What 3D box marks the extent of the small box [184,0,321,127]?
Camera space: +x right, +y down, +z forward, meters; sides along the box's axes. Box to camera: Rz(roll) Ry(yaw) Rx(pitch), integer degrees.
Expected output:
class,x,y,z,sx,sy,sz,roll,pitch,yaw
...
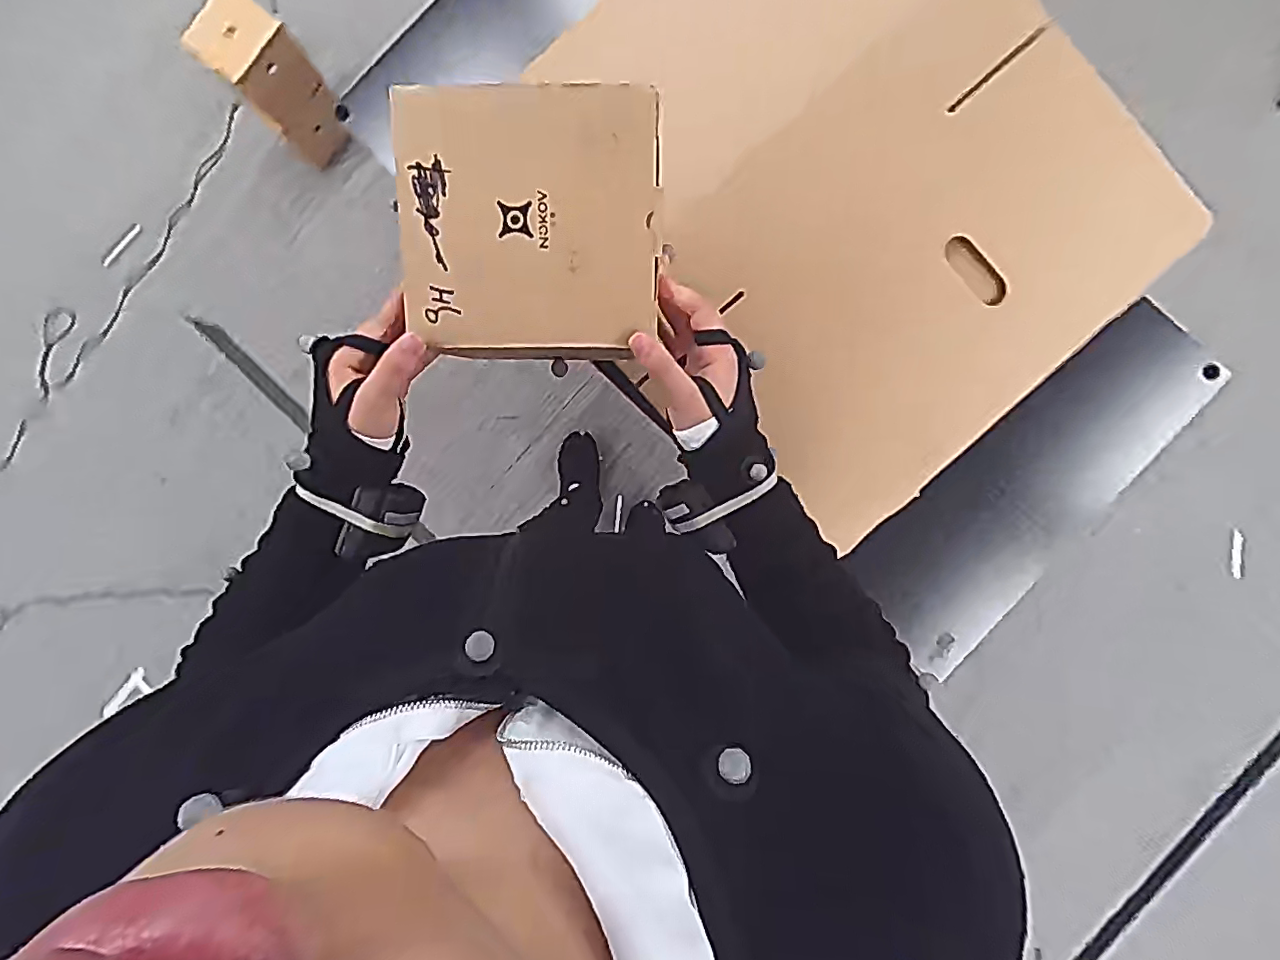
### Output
class,x,y,z,sx,sy,sz,roll,pitch,yaw
small box,-0.919,-1.009,1.304,0.168,0.176,0.179,37,89,1

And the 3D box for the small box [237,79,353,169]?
class,x,y,z,sx,sy,sz,roll,pitch,yaw
small box,-0.920,-1.001,1.467,0.168,0.176,0.179,39,90,2

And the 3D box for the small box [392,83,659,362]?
class,x,y,z,sx,sy,sz,roll,pitch,yaw
small box,-0.078,-0.188,0.444,0.179,0.176,0.168,-1,98,-2
